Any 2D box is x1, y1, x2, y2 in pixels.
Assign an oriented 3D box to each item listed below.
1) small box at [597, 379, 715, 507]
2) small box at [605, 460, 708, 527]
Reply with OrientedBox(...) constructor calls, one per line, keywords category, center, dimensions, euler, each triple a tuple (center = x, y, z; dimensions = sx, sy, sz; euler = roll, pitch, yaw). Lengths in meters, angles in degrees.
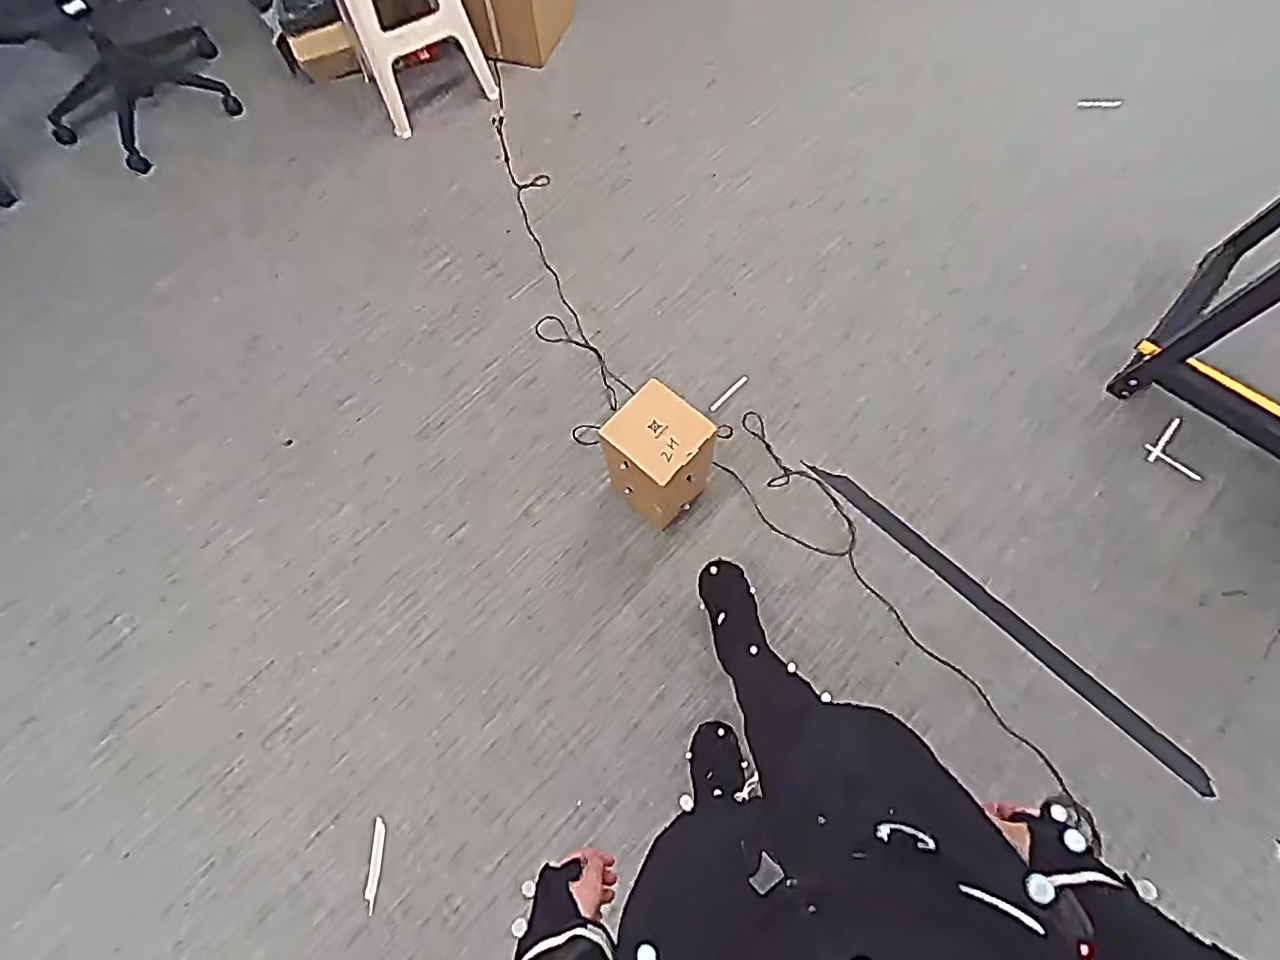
OrientedBox(category="small box", center=(0.033, -0.069, 1.132), dimensions=(0.179, 0.176, 0.168), euler=(41, 77, 15))
OrientedBox(category="small box", center=(0.039, -0.012, 1.286), dimensions=(0.179, 0.176, 0.168), euler=(43, 77, 15))
